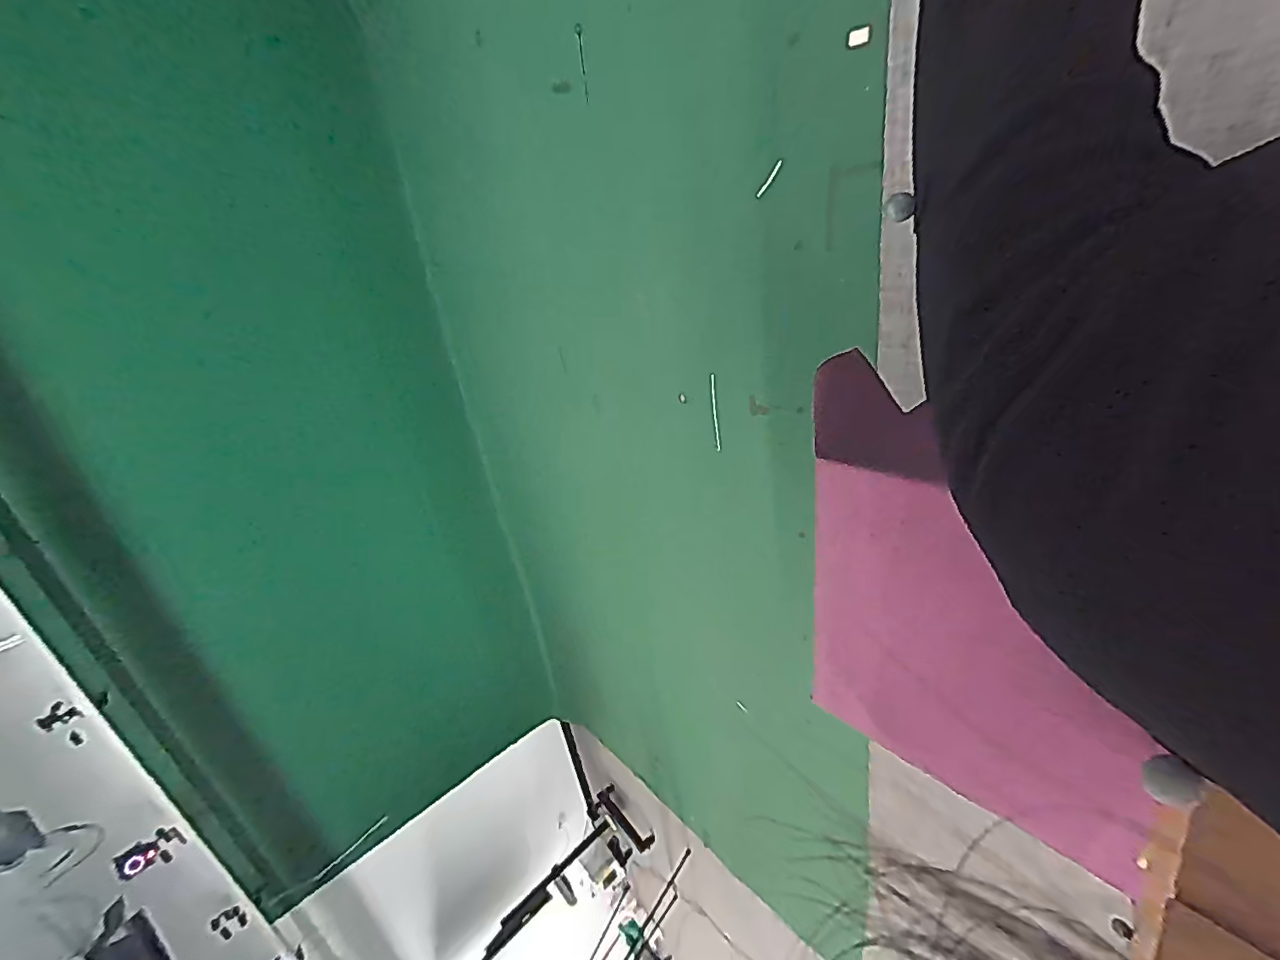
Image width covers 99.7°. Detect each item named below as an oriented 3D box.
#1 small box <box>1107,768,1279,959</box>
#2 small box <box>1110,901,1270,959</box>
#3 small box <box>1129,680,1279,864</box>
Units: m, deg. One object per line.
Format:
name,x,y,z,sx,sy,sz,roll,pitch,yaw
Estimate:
small box,0.550,0.405,0.471,0.168,0.176,0.179,22,129,43
small box,0.425,0.457,0.378,0.168,0.176,0.179,23,130,43
small box,0.670,0.356,0.573,0.168,0.176,0.179,24,130,42
